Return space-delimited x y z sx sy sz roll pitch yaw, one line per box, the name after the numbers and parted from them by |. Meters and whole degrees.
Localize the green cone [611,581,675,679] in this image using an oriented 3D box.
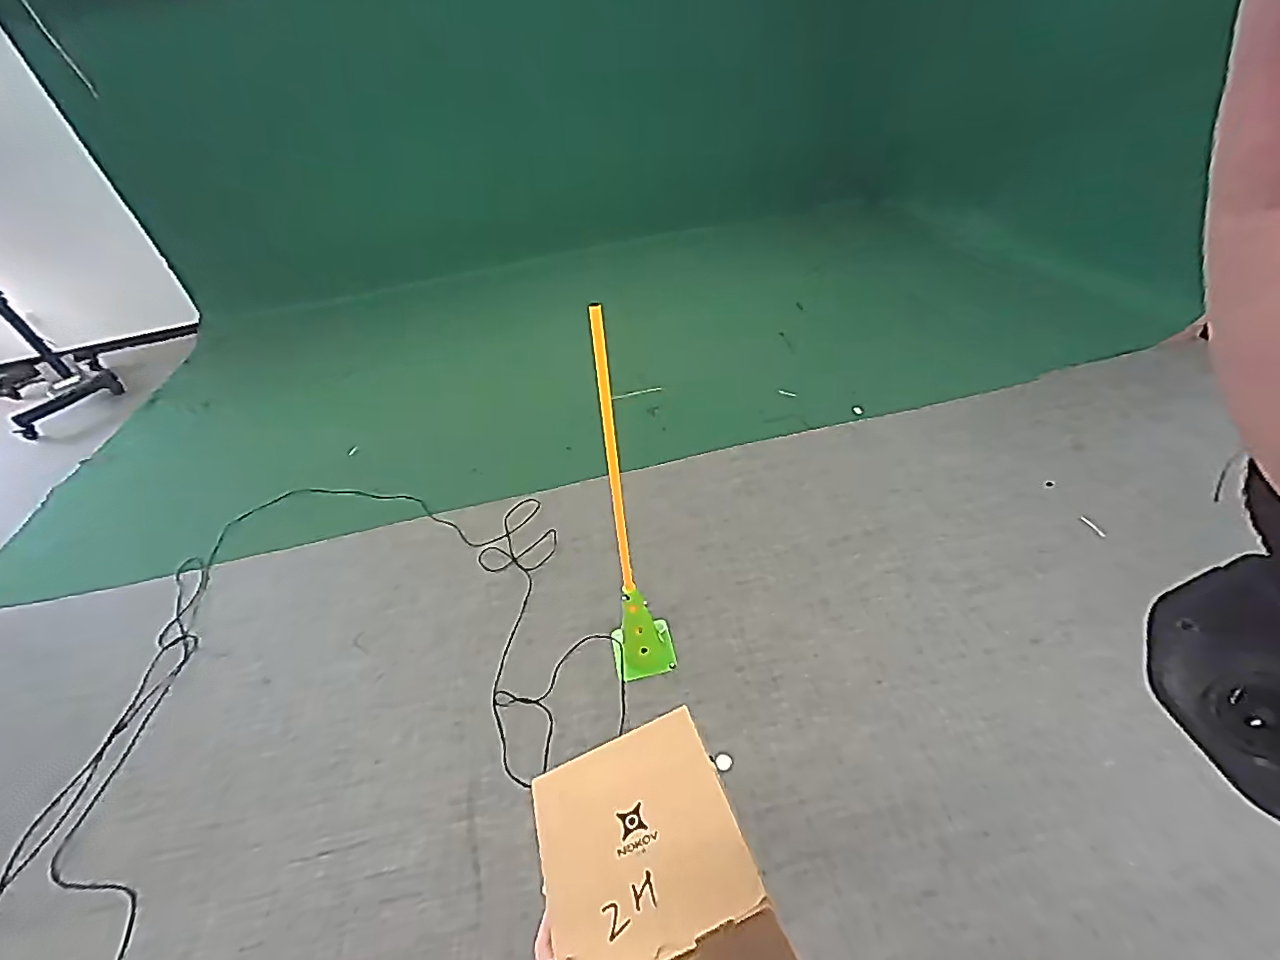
-0.017 0.446 1.743 0.202 0.368 0.200 -13 41 -2 | green cone

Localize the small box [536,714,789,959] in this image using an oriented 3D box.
0.018 0.365 0.501 0.168 0.176 0.179 -23 34 -4 | small box
